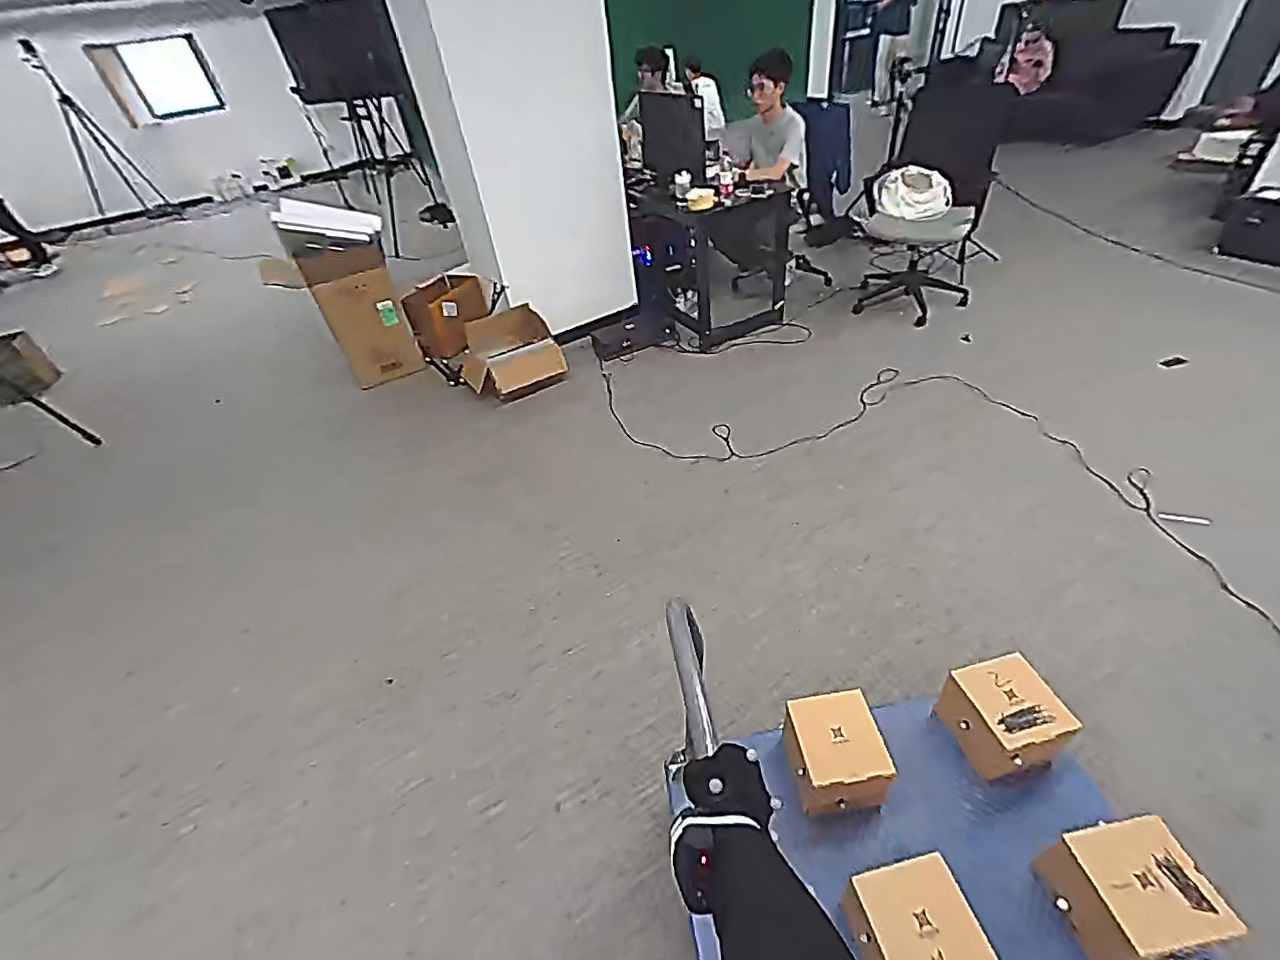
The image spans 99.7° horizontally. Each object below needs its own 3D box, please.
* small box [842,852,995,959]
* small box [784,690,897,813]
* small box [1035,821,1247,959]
[{"bbox_3d":[0.464,0.776,0.920,0.168,0.176,0.179,-12,41,-4],"label":"small box"},{"bbox_3d":[0.415,0.580,1.155,0.168,0.176,0.179,-8,42,-1],"label":"small box"},{"bbox_3d":[0.834,0.715,0.927,0.179,0.176,0.168,-11,41,-1],"label":"small box"}]
